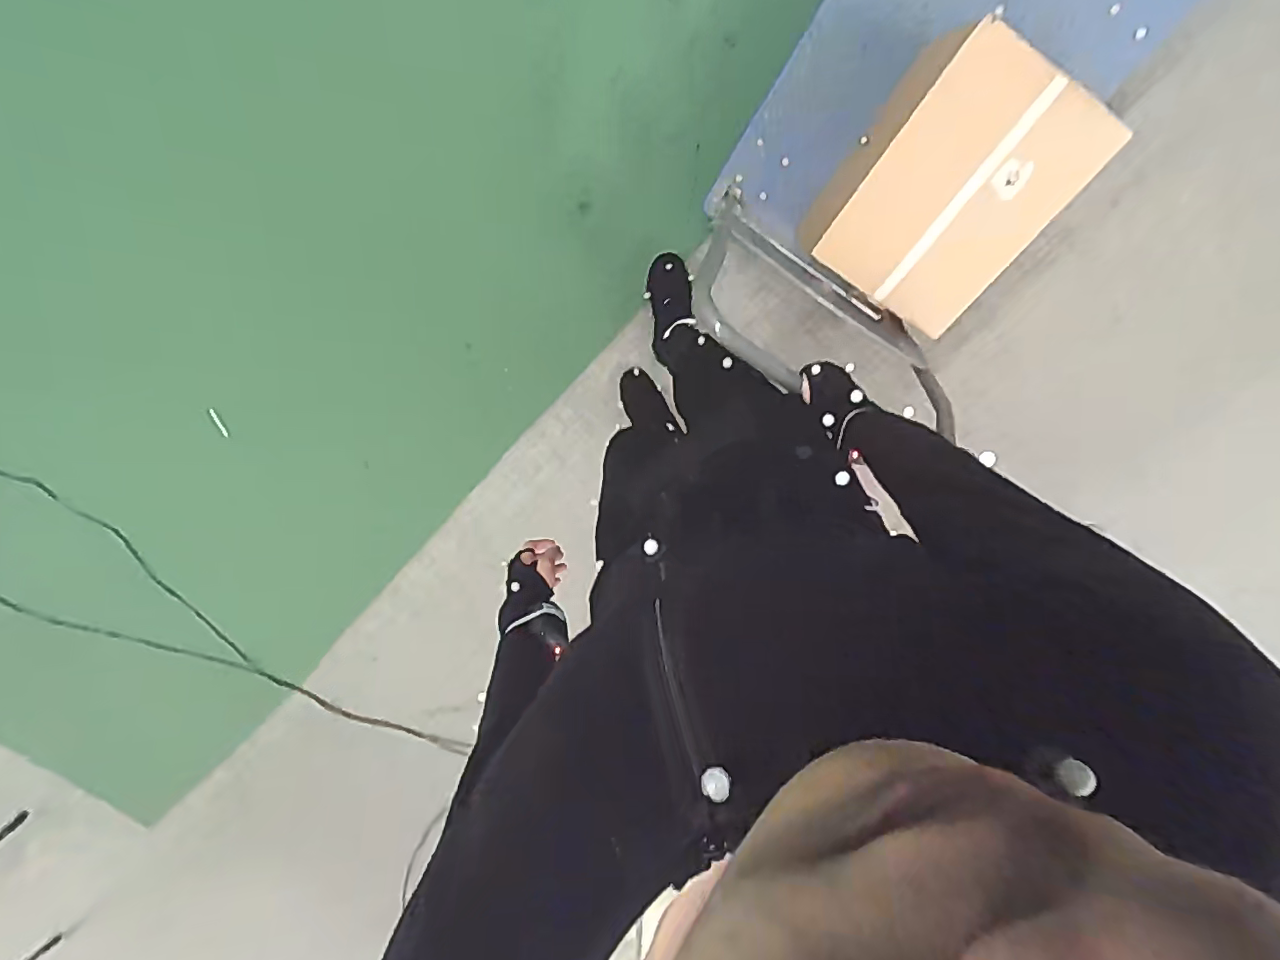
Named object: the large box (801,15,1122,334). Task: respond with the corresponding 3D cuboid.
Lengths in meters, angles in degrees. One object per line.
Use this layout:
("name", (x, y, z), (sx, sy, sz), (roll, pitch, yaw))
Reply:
("large box", (0.576, -0.576, 1.074), (0.320, 0.320, 0.408), (29, 122, -10))
